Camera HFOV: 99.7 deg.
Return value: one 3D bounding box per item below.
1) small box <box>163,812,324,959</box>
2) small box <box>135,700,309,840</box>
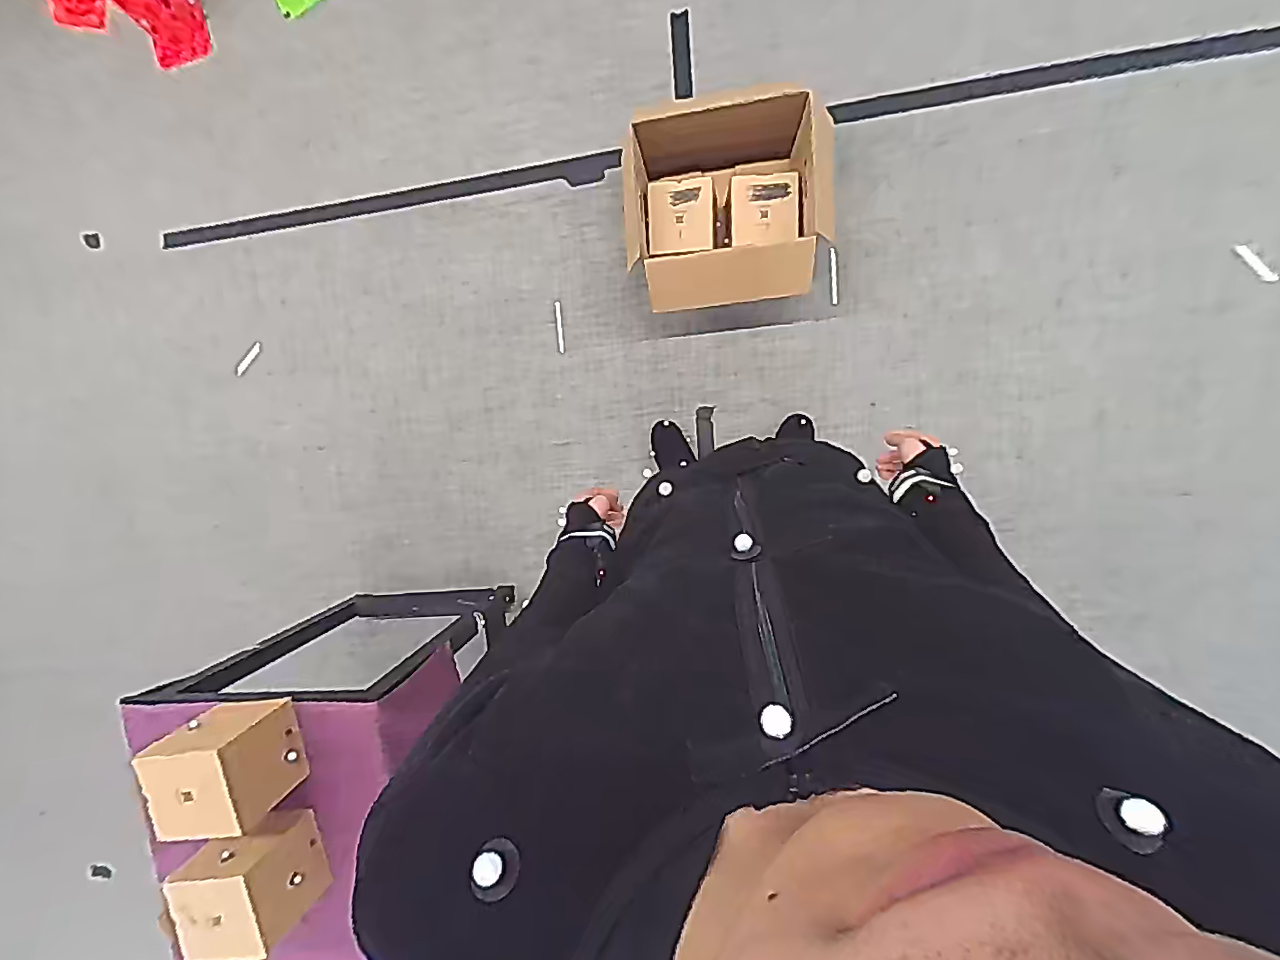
[{"bbox_3d":[-0.745,0.772,1.041,0.179,0.176,0.168,-11,95,10],"label":"small box"},{"bbox_3d":[-0.772,0.536,1.014,0.179,0.176,0.168,-9,98,10],"label":"small box"}]
